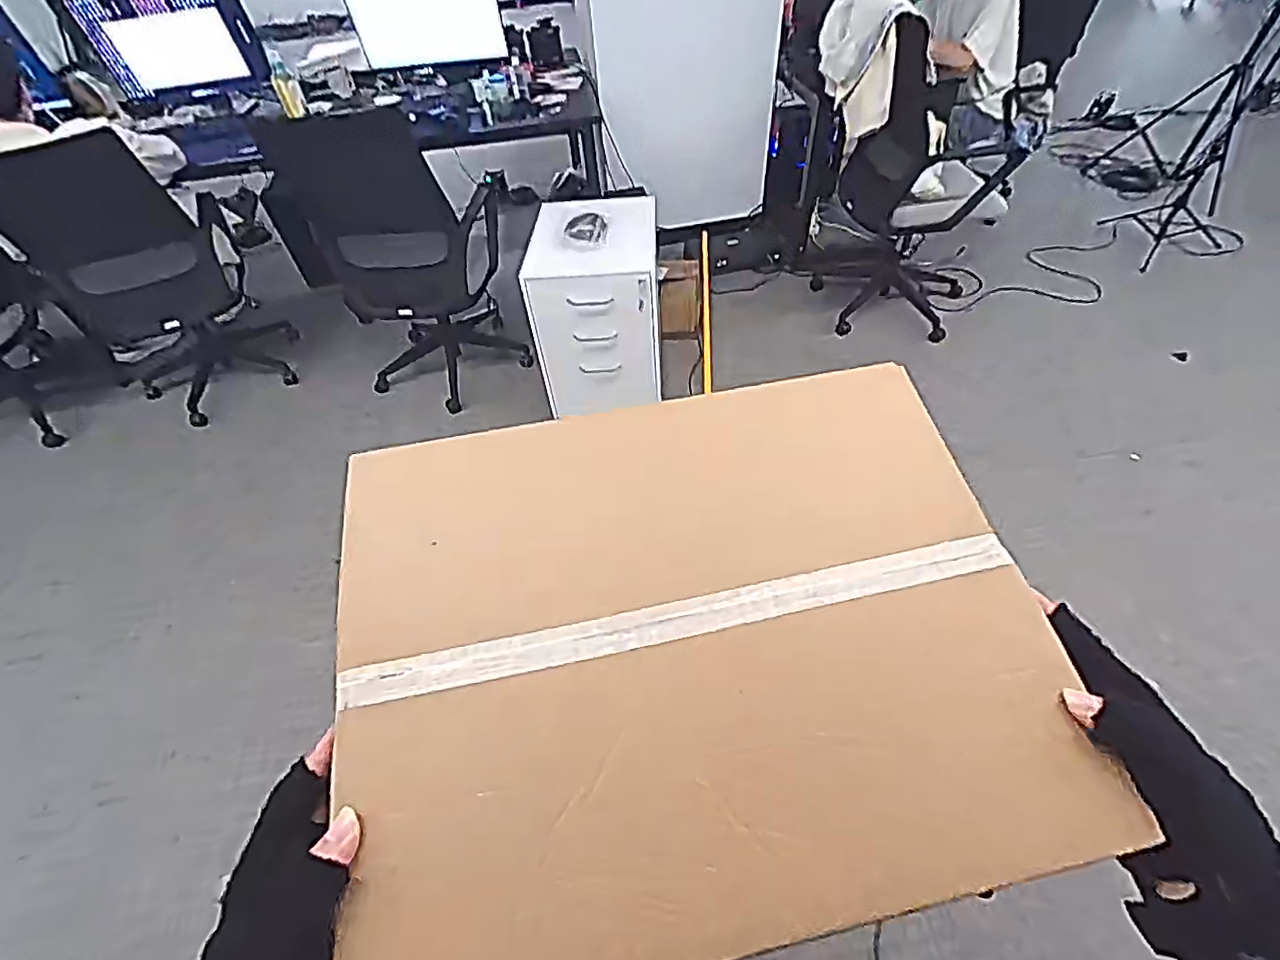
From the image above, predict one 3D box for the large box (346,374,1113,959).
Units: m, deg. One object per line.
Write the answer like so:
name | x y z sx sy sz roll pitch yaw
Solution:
large box | 0.030 0.156 0.463 0.408 0.320 0.320 -11 62 -5
